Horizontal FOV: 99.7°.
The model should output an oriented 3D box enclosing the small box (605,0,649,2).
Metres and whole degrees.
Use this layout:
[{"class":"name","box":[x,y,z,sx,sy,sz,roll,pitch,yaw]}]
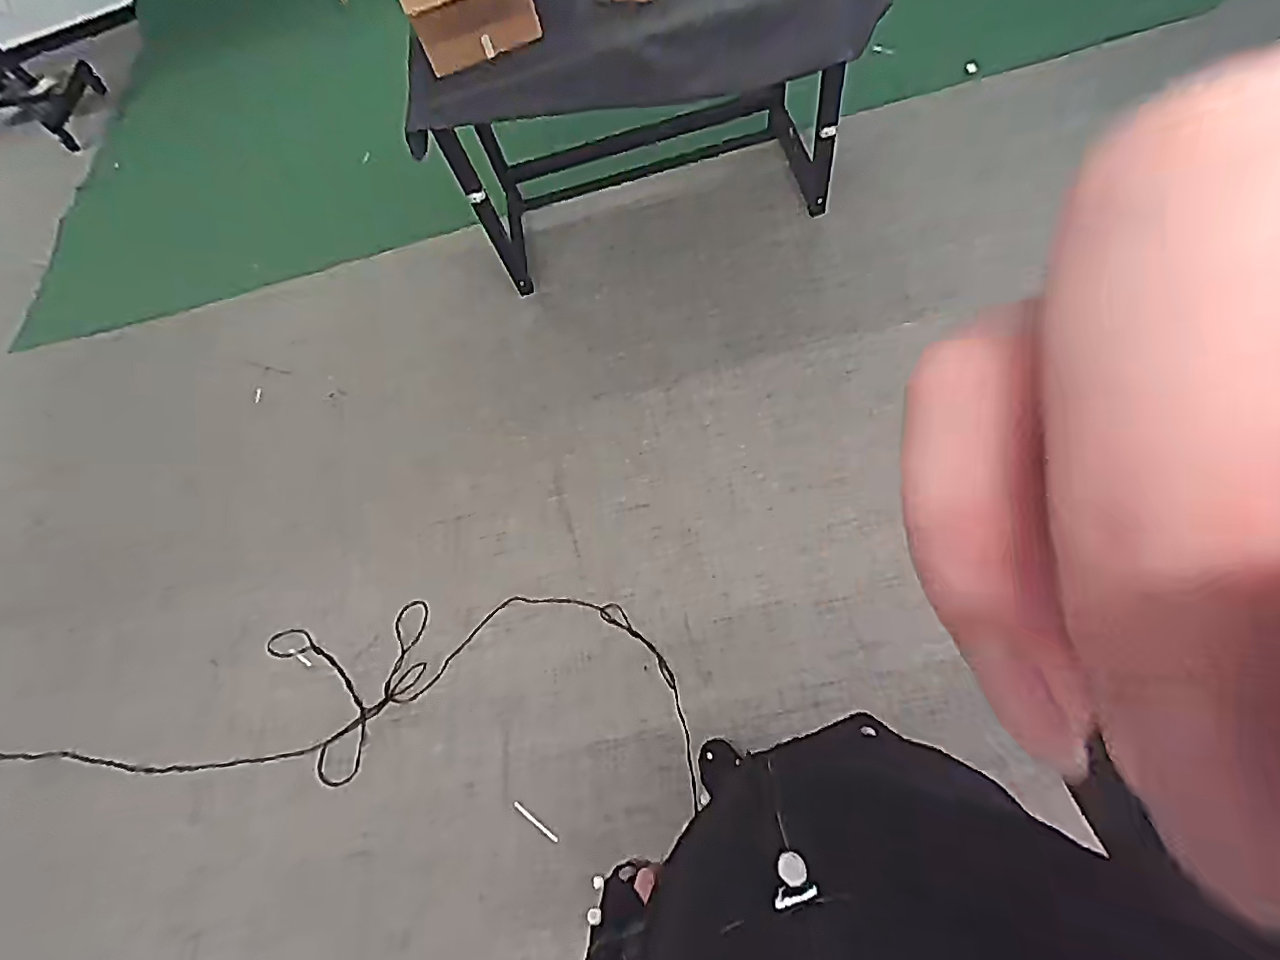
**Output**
[{"class":"small box","box":[-0.014,-1.394,1.412,0.179,0.176,0.168,19,72,18]}]
